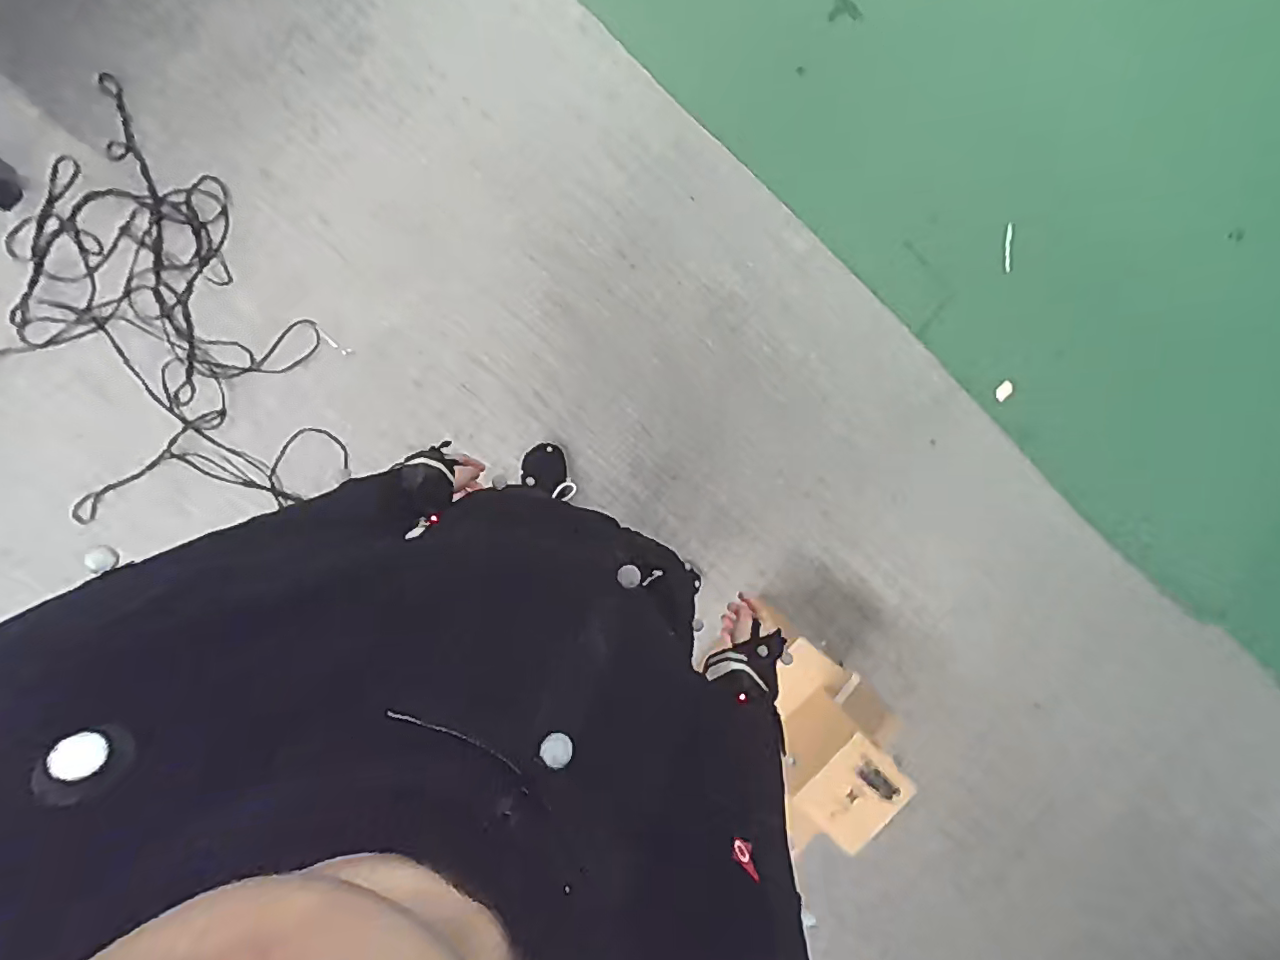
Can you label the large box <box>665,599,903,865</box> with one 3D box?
[{"bbox_3d":[0.312,0.562,1.279,0.320,0.320,0.408,39,91,-5],"label":"large box"}]
